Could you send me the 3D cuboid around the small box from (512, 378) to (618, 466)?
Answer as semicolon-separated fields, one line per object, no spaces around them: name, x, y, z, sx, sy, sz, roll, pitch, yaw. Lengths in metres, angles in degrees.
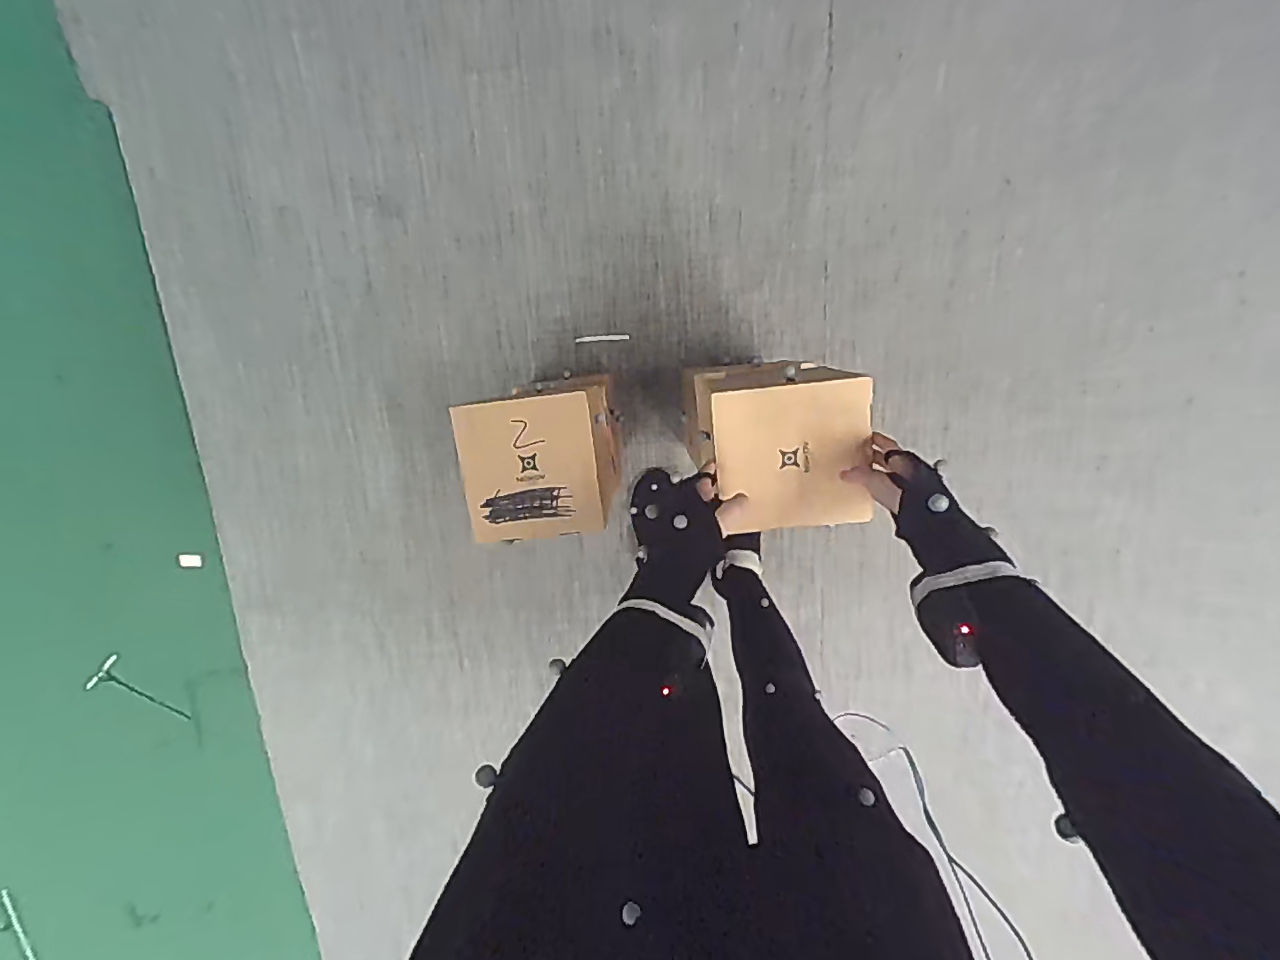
small box;-0.137;-0.107;1.065;0.179;0.176;0.168;-7;102;2

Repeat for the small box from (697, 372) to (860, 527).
small box;0.166;-0.047;0.694;0.179;0.176;0.168;-5;104;2

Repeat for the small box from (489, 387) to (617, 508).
small box;-0.133;-0.062;0.908;0.179;0.176;0.168;-7;102;3
